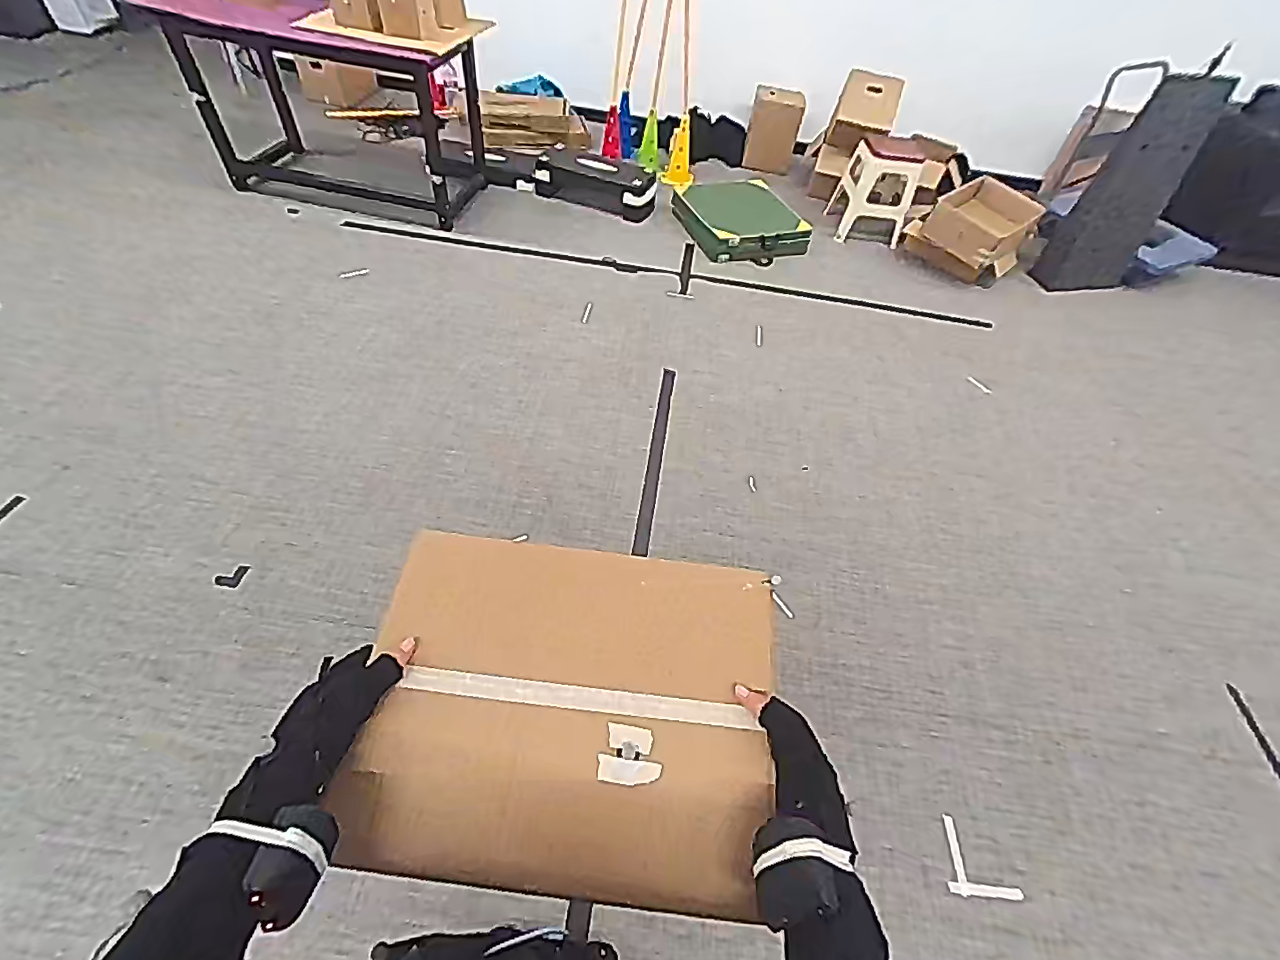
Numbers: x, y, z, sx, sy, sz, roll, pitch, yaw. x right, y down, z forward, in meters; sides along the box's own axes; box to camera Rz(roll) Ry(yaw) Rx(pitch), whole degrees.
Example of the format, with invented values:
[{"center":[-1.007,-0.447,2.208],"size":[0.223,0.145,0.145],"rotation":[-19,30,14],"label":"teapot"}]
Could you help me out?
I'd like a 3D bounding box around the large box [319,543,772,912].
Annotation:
[{"center":[-0.078,0.300,0.670],"size":[0.408,0.320,0.320],"rotation":[7,59,1],"label":"large box"}]
